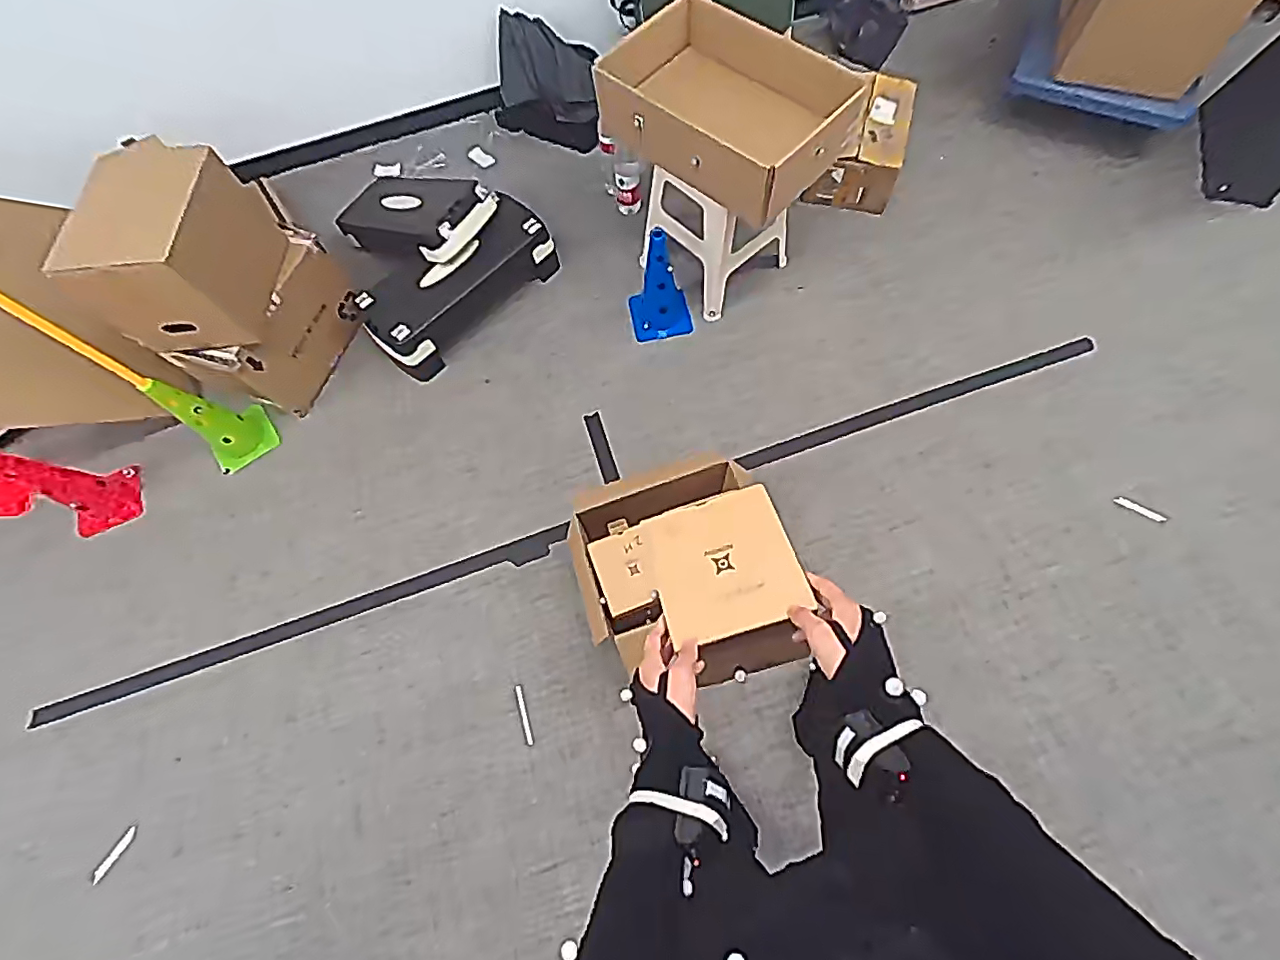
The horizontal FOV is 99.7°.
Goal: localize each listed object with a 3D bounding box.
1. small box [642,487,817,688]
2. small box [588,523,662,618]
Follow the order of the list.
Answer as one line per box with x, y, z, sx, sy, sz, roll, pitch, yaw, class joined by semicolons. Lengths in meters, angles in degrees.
0.111;0.142;0.698;0.168;0.176;0.179;-17;53;2;small box
-0.010;0.219;1.280;0.168;0.176;0.179;-20;70;-4;small box
